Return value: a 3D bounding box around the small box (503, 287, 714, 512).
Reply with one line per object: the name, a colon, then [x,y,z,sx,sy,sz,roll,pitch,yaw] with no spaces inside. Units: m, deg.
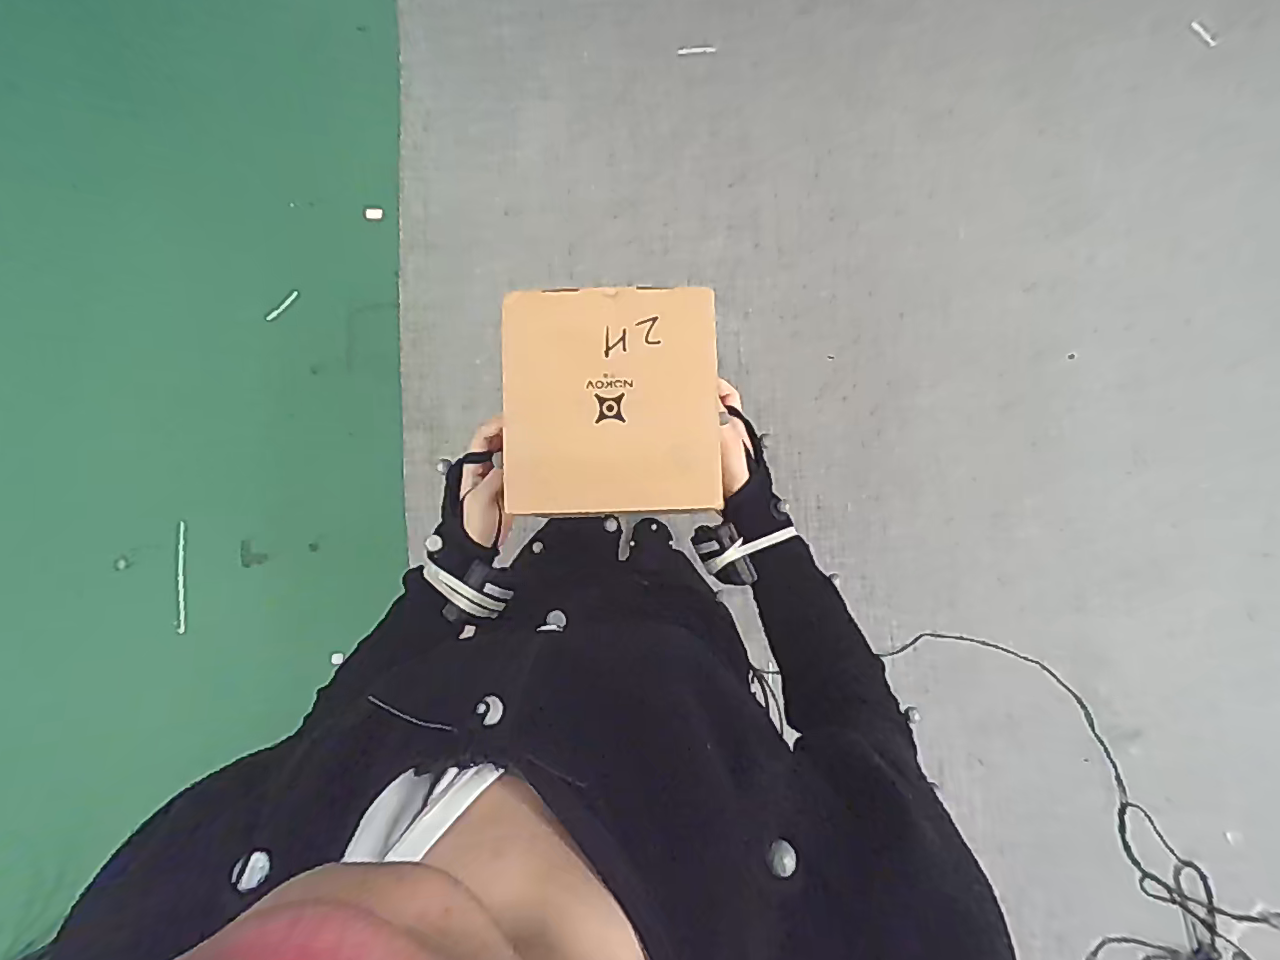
small box: [-0.024,-0.059,0.499,0.168,0.176,0.179,0,85,-2]
